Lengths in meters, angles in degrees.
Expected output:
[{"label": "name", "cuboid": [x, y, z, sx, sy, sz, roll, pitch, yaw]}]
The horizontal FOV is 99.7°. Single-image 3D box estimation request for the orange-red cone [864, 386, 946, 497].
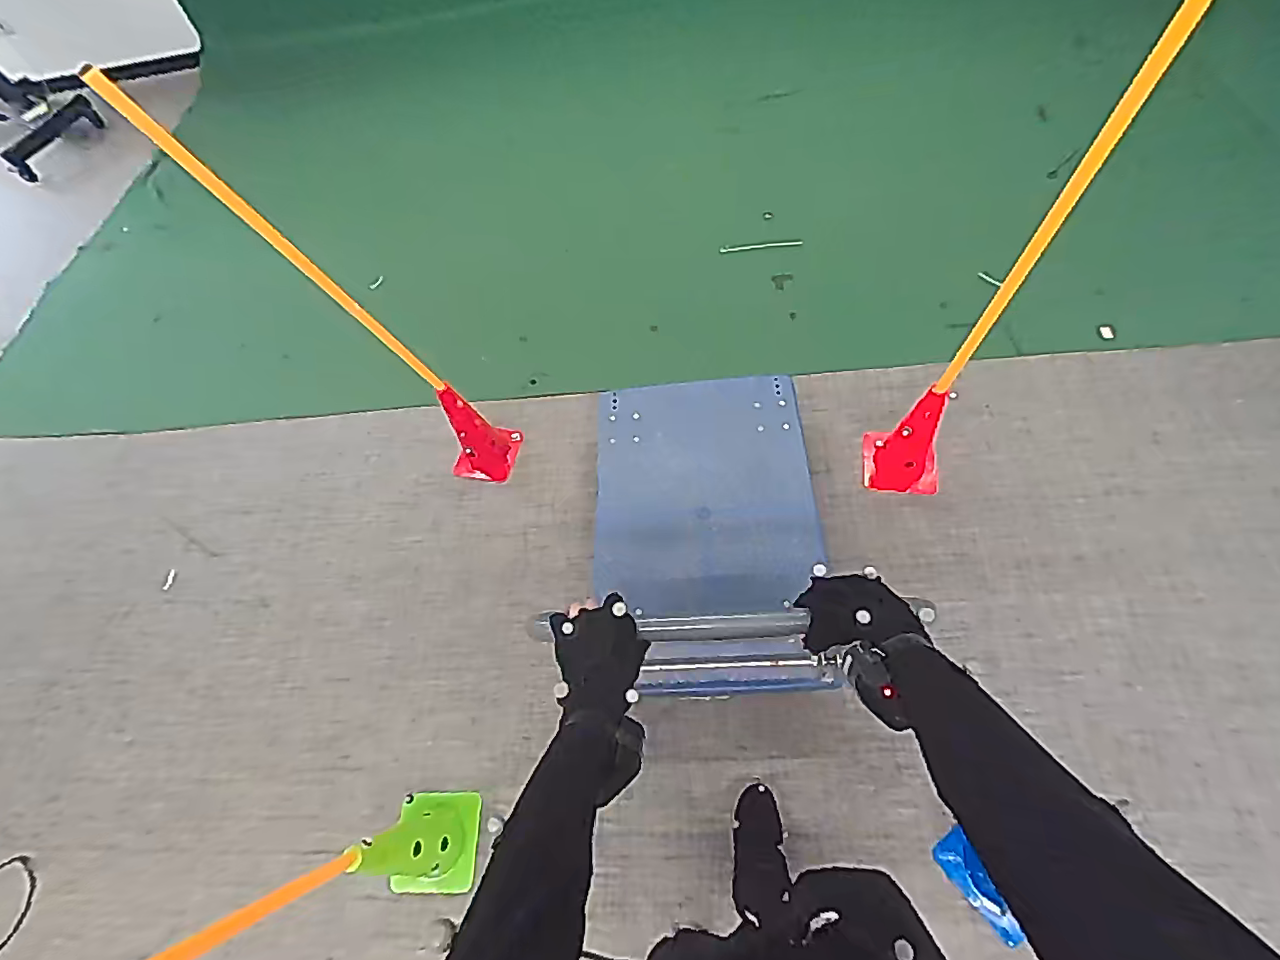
[{"label": "orange-red cone", "cuboid": [0.744, -0.125, 1.451, 0.198, 0.360, 0.199, 6, 63, 12]}]
